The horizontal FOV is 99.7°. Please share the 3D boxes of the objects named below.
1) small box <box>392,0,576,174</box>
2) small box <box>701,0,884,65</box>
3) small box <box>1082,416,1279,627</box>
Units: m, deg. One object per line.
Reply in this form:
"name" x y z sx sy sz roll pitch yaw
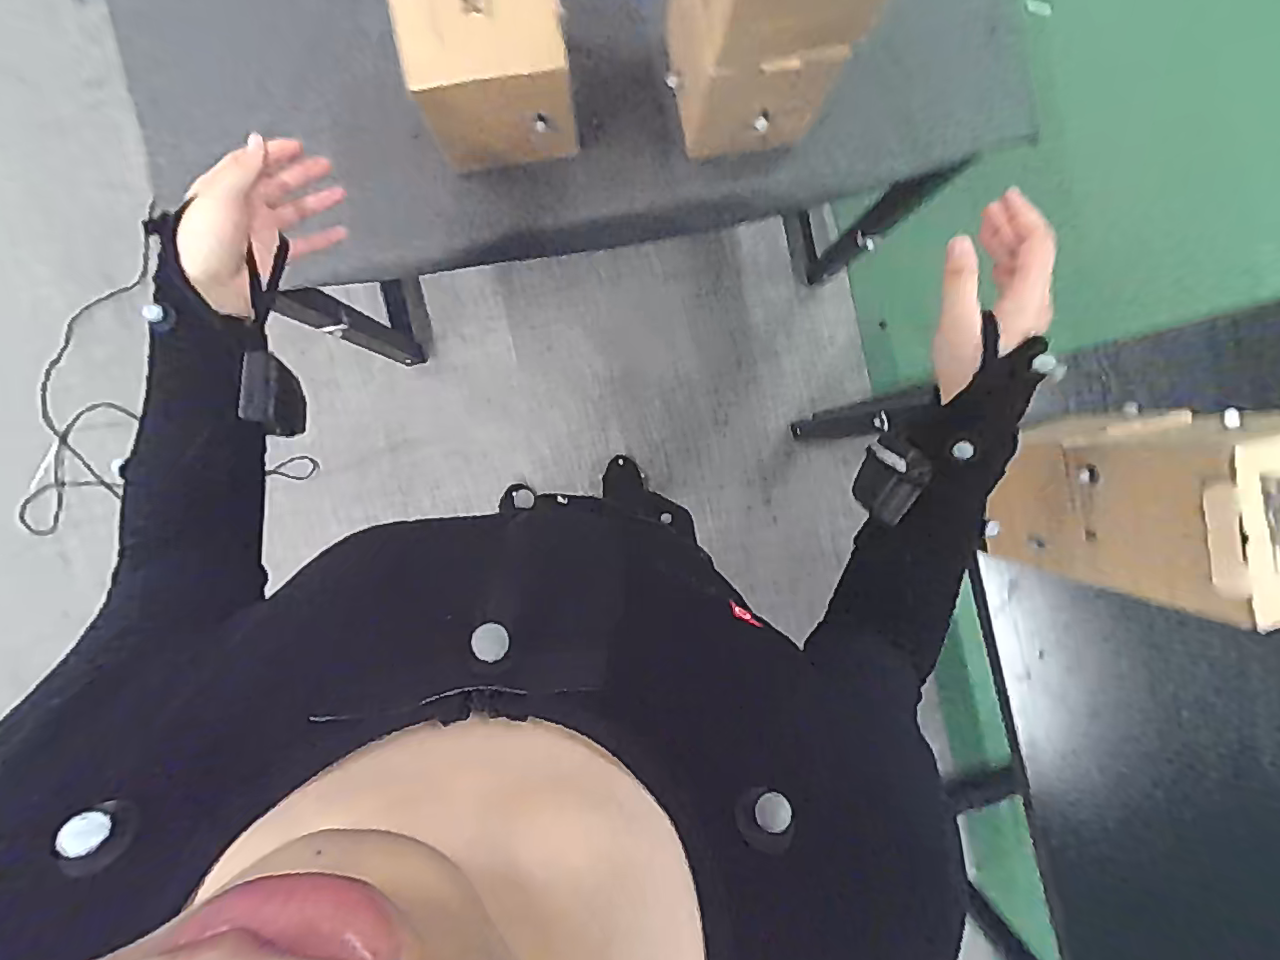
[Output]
"small box" -0.177 -0.506 0.655 0.179 0.176 0.168 -11 91 -1
"small box" 0.152 -0.537 0.502 0.179 0.176 0.168 -12 92 -1
"small box" 0.596 0.030 0.549 0.179 0.176 0.168 -11 95 -2
